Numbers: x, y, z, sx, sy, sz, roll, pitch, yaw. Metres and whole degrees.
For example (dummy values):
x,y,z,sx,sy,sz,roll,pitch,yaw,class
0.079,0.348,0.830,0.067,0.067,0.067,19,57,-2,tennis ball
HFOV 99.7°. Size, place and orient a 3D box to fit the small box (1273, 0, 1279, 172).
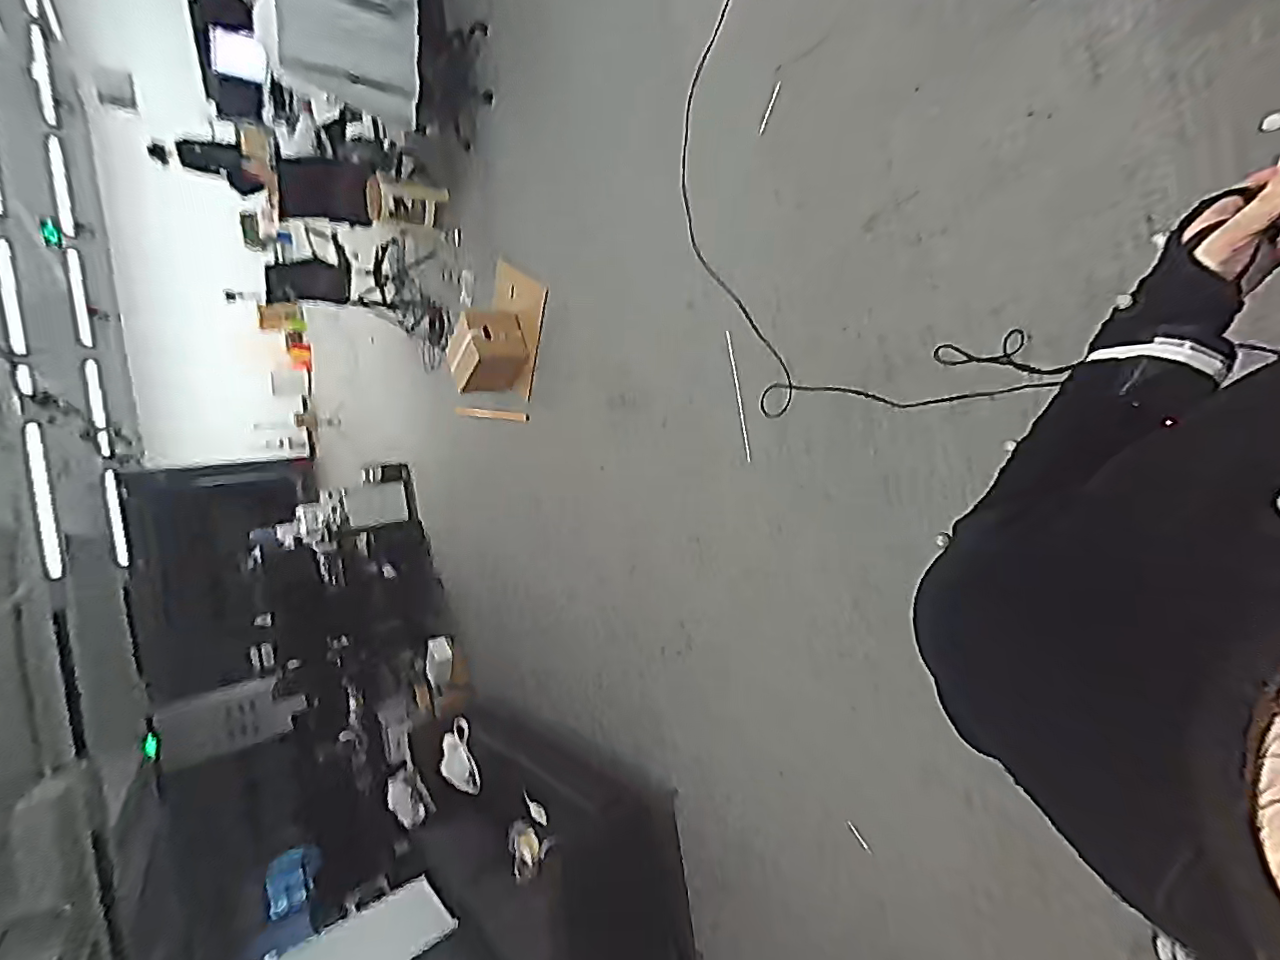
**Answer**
x,y,z,sx,sy,sz,roll,pitch,yaw,class
0.475,-0.283,0.293,0.168,0.176,0.179,1,101,50,small box
